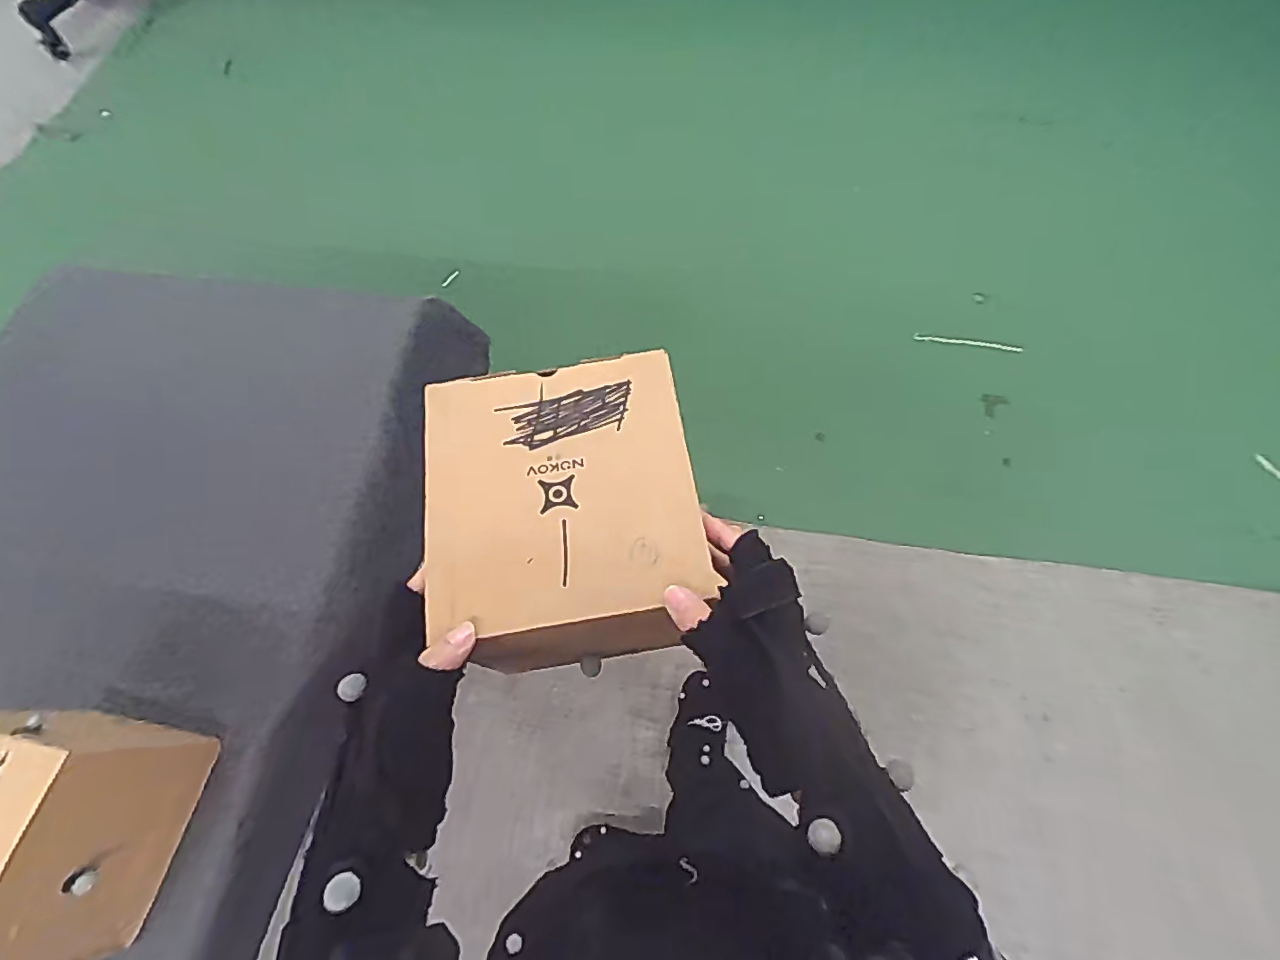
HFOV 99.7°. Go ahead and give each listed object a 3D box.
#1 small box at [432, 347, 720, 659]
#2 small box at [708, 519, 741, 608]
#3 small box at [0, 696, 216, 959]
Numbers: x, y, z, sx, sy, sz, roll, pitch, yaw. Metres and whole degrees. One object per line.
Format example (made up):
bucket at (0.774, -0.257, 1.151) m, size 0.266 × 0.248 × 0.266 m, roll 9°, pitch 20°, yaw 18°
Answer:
small box at (-0.042, 0.029, 0.410) m, size 0.168 × 0.176 × 0.179 m, roll -8°, pitch 67°, yaw 0°
small box at (0.142, 0.199, 1.299) m, size 0.168 × 0.176 × 0.179 m, roll 8°, pitch 69°, yaw 6°
small box at (-0.539, 0.300, 0.481) m, size 0.168 × 0.176 × 0.179 m, roll 10°, pitch 68°, yaw 6°
